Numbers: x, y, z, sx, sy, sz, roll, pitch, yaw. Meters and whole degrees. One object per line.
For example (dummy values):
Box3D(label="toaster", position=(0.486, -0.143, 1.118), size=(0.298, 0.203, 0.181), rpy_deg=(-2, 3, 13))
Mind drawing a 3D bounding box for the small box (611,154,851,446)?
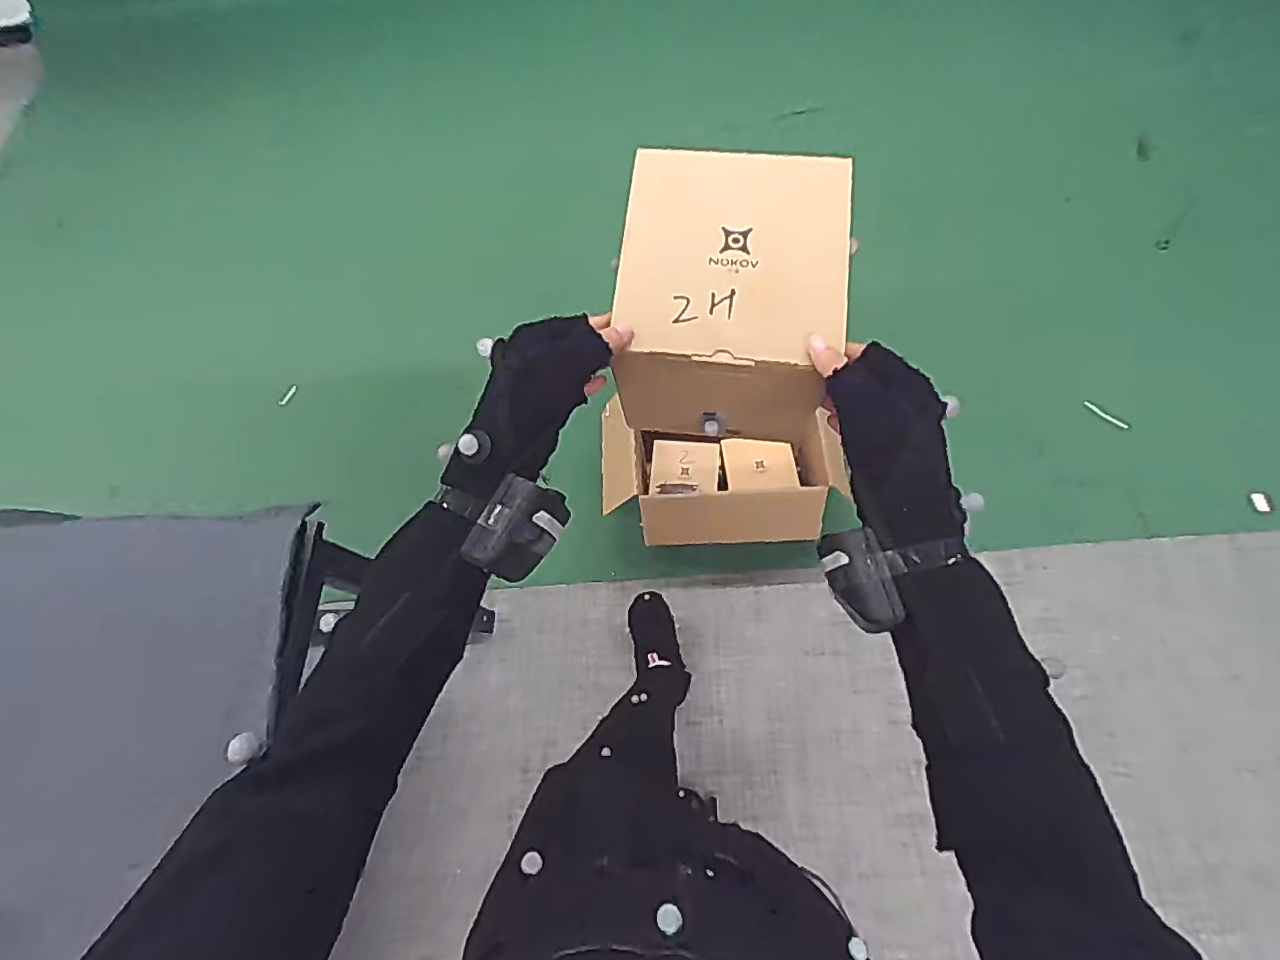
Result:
Box3D(label="small box", position=(0.075, -0.145, 0.477), size=(0.168, 0.176, 0.179), rpy_deg=(6, 76, 6))
